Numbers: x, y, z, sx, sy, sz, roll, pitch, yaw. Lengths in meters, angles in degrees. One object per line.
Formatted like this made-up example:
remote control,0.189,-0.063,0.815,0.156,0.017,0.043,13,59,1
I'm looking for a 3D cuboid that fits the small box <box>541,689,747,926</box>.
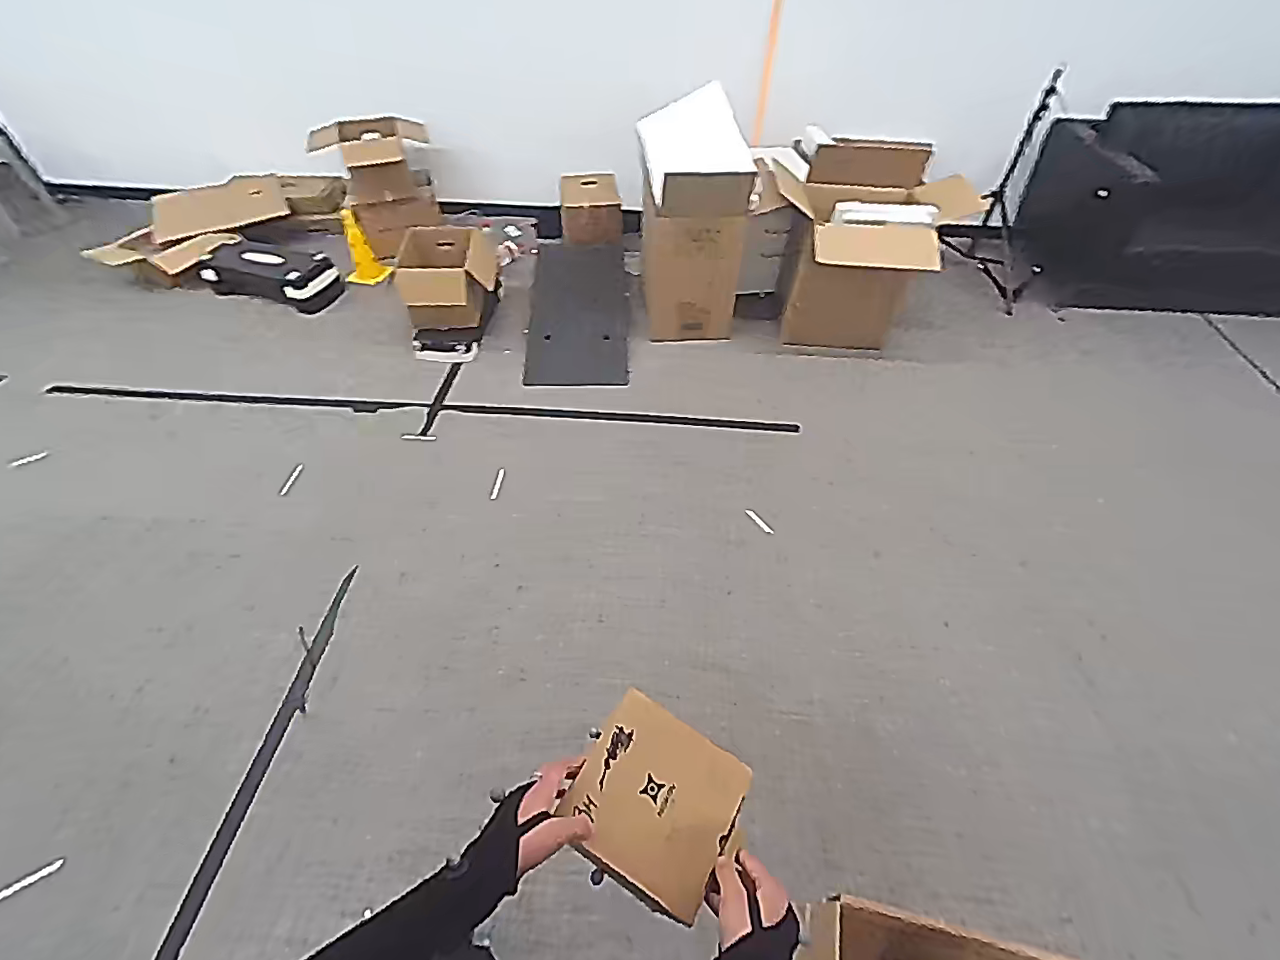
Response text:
small box,-0.003,0.390,0.660,0.179,0.176,0.168,32,55,8
